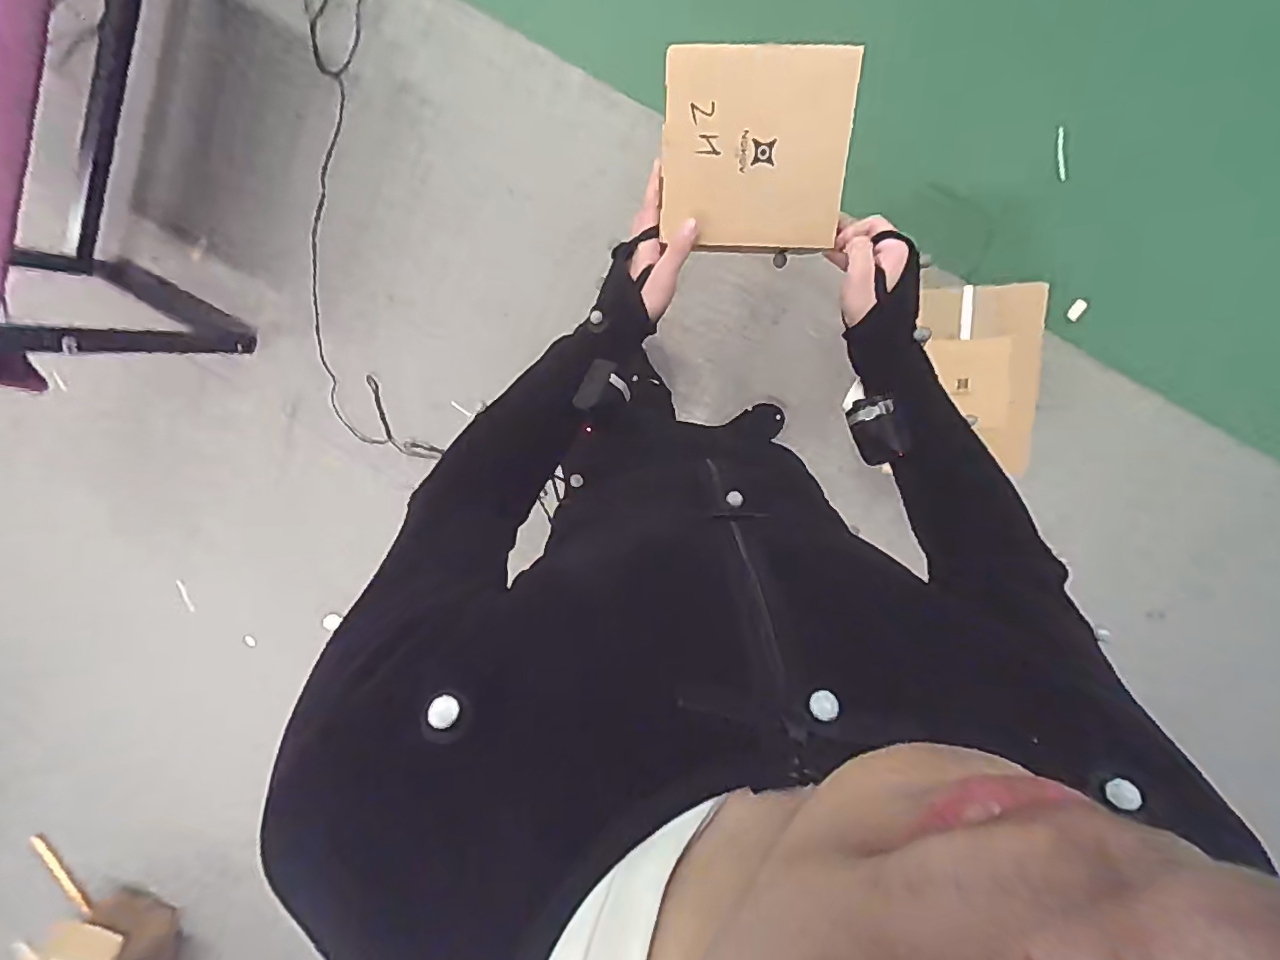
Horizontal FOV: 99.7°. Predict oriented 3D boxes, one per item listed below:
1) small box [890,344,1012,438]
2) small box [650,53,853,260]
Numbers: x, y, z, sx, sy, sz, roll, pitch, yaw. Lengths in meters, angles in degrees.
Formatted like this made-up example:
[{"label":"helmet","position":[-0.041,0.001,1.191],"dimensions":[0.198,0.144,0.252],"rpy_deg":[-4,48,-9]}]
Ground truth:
[{"label":"small box","position":[0.620,-0.185,1.101],"dimensions":[0.168,0.176,0.179],"rpy_deg":[0,102,9]},{"label":"small box","position":[0.105,-0.328,0.579],"dimensions":[0.179,0.176,0.168],"rpy_deg":[3,111,5]}]
